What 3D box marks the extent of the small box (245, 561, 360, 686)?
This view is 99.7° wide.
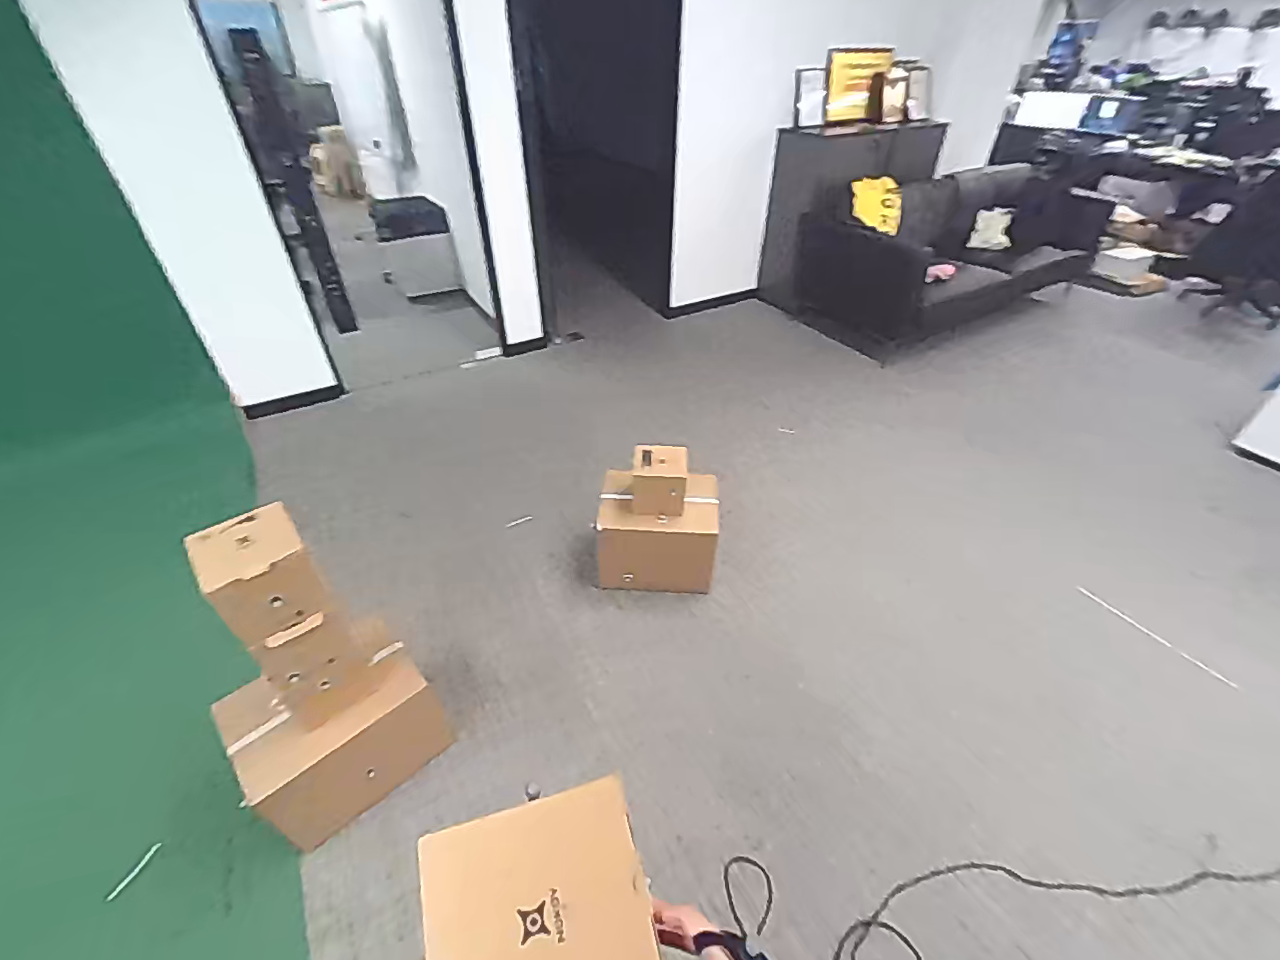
[{"bbox_3d":[-0.735,0.315,1.169,0.168,0.176,0.179,-27,47,-30],"label":"small box"}]

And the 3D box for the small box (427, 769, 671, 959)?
[{"bbox_3d":[-0.079,0.384,0.492,0.179,0.176,0.168,-11,59,-12],"label":"small box"}]

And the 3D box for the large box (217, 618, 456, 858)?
[{"bbox_3d":[-0.760,0.651,1.404,0.408,0.320,0.320,-33,48,-32],"label":"large box"}]

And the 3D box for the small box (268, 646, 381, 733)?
[{"bbox_3d":[-0.741,0.449,1.265,0.179,0.176,0.168,-28,48,-31],"label":"small box"}]

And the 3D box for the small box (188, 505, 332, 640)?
[{"bbox_3d":[-0.739,0.188,1.065,0.168,0.176,0.179,-28,49,-31],"label":"small box"}]
